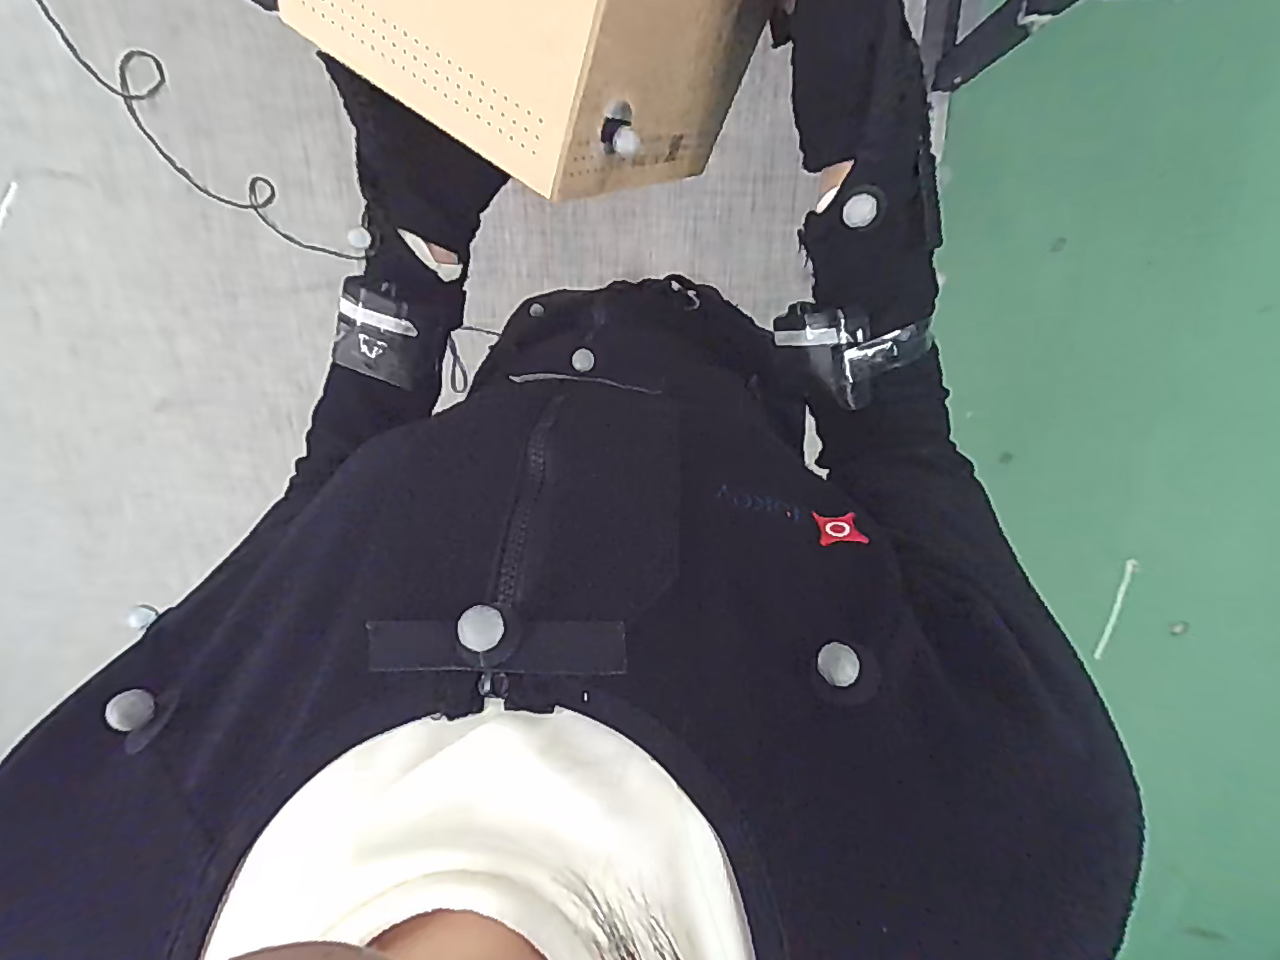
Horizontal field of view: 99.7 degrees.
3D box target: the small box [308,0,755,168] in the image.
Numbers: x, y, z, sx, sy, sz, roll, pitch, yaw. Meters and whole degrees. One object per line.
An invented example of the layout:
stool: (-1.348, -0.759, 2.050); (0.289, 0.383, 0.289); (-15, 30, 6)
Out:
small box: (-0.039, -0.276, 0.267); (0.179, 0.168, 0.176); (35, 133, 8)
